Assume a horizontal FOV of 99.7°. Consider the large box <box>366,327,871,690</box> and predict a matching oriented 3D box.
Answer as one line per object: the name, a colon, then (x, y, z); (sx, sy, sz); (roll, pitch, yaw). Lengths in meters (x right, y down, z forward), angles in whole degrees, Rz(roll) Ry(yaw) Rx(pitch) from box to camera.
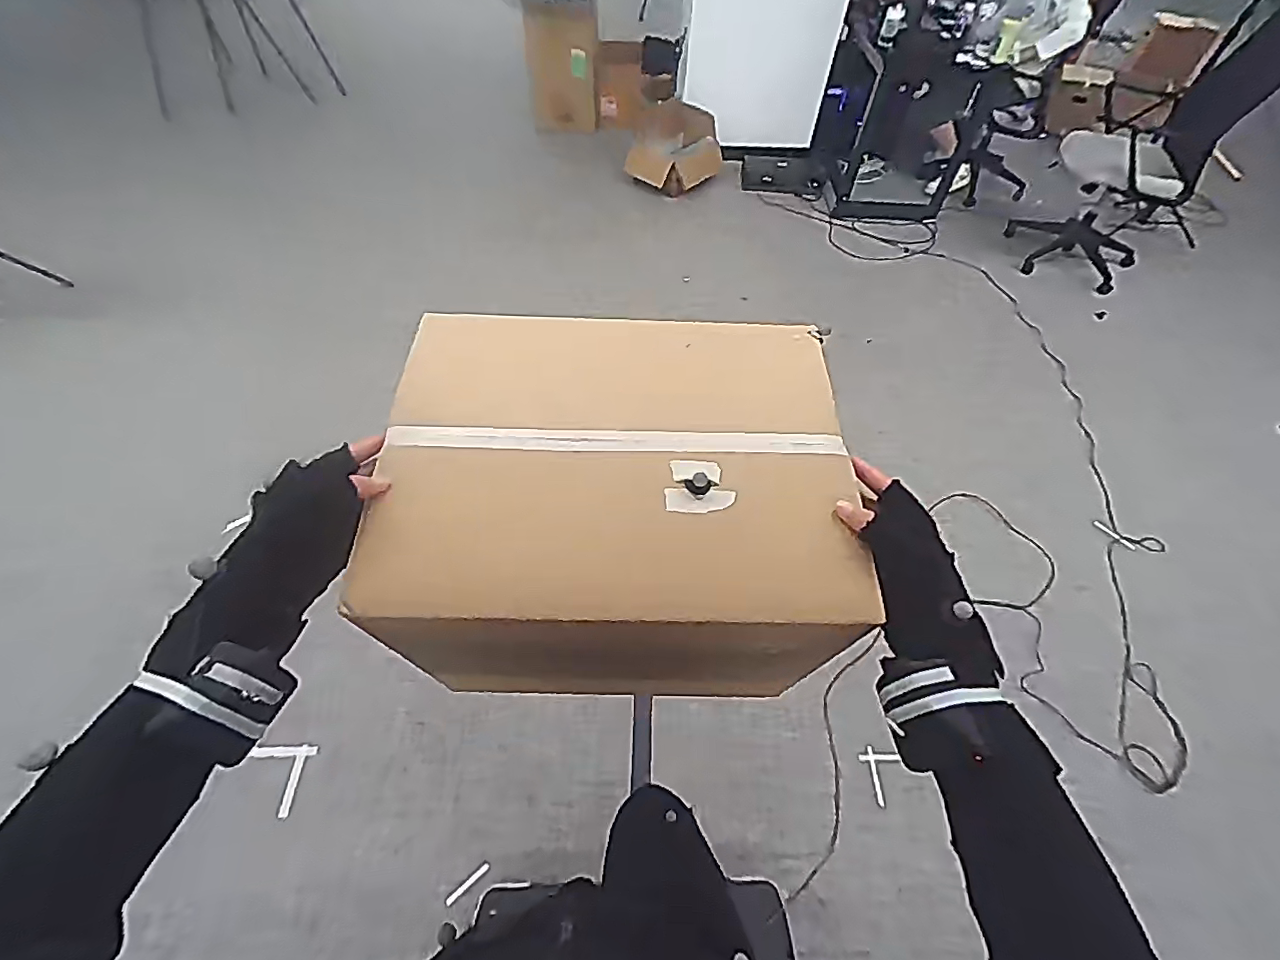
large box: (-0.022, 0.051, 0.622); (0.408, 0.320, 0.320); (2, 59, -2)
